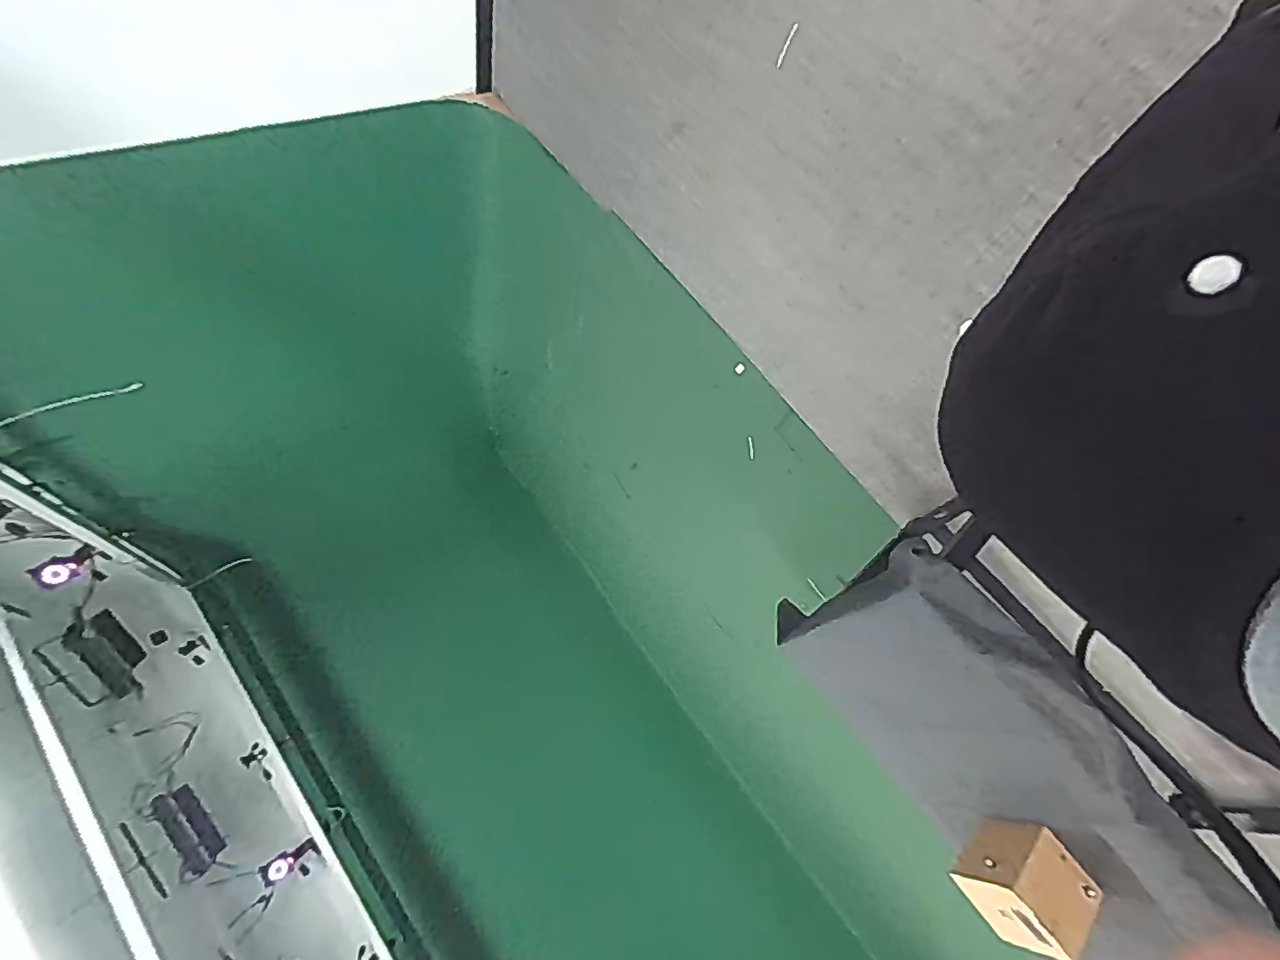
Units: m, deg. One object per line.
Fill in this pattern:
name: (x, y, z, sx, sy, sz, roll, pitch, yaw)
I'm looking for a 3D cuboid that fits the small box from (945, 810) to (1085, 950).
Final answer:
small box: (0.829, 0.864, 1.191, 0.168, 0.176, 0.179, 51, 152, 11)
